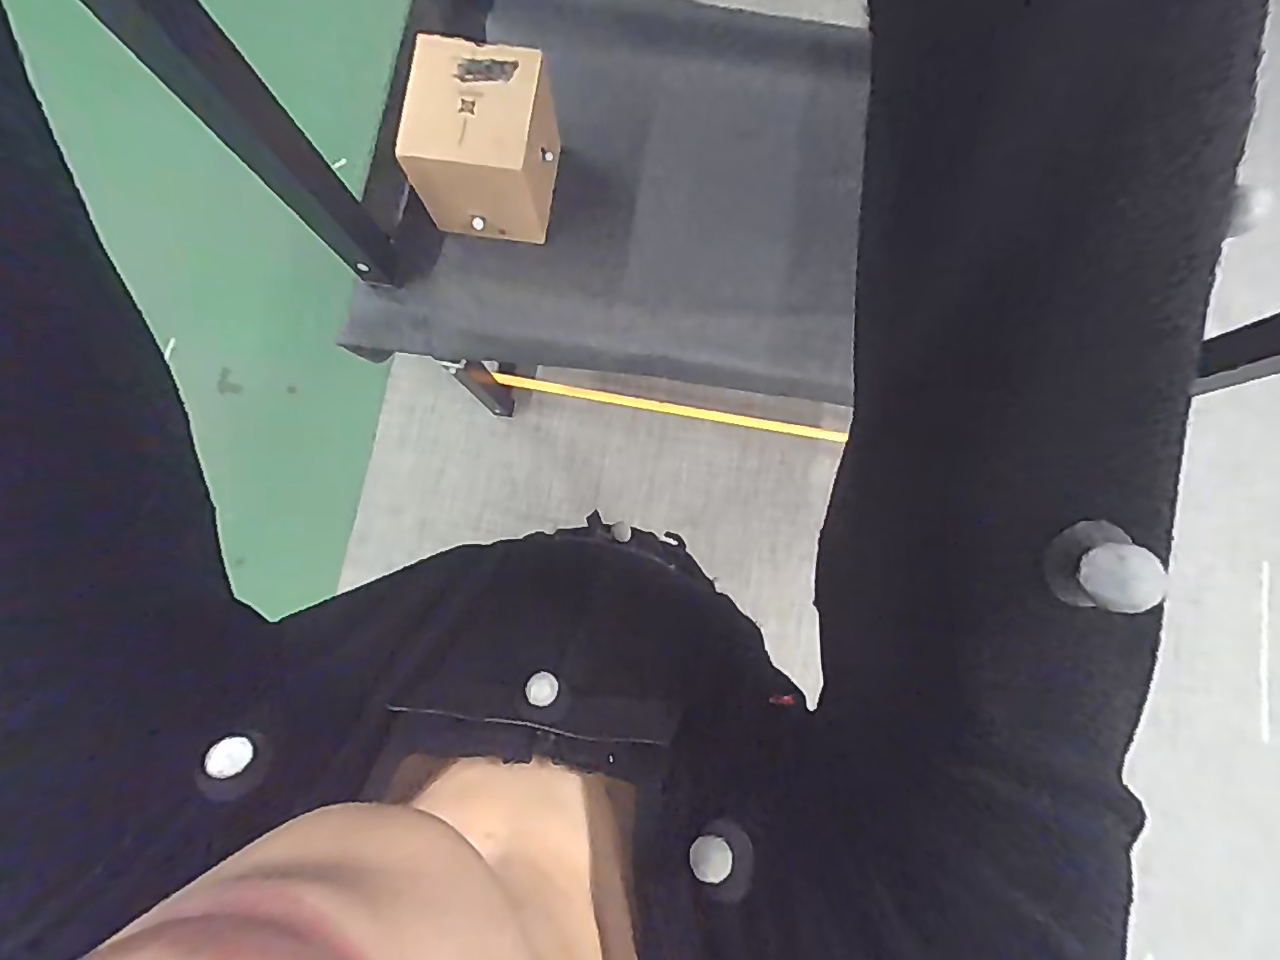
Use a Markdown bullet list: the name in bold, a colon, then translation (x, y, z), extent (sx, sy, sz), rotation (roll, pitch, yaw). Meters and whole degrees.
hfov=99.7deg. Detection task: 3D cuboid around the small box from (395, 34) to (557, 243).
- **small box**: translation (-0.217, -0.470, 0.765), extent (0.168, 0.176, 0.179), rotation (7, 82, 1)
